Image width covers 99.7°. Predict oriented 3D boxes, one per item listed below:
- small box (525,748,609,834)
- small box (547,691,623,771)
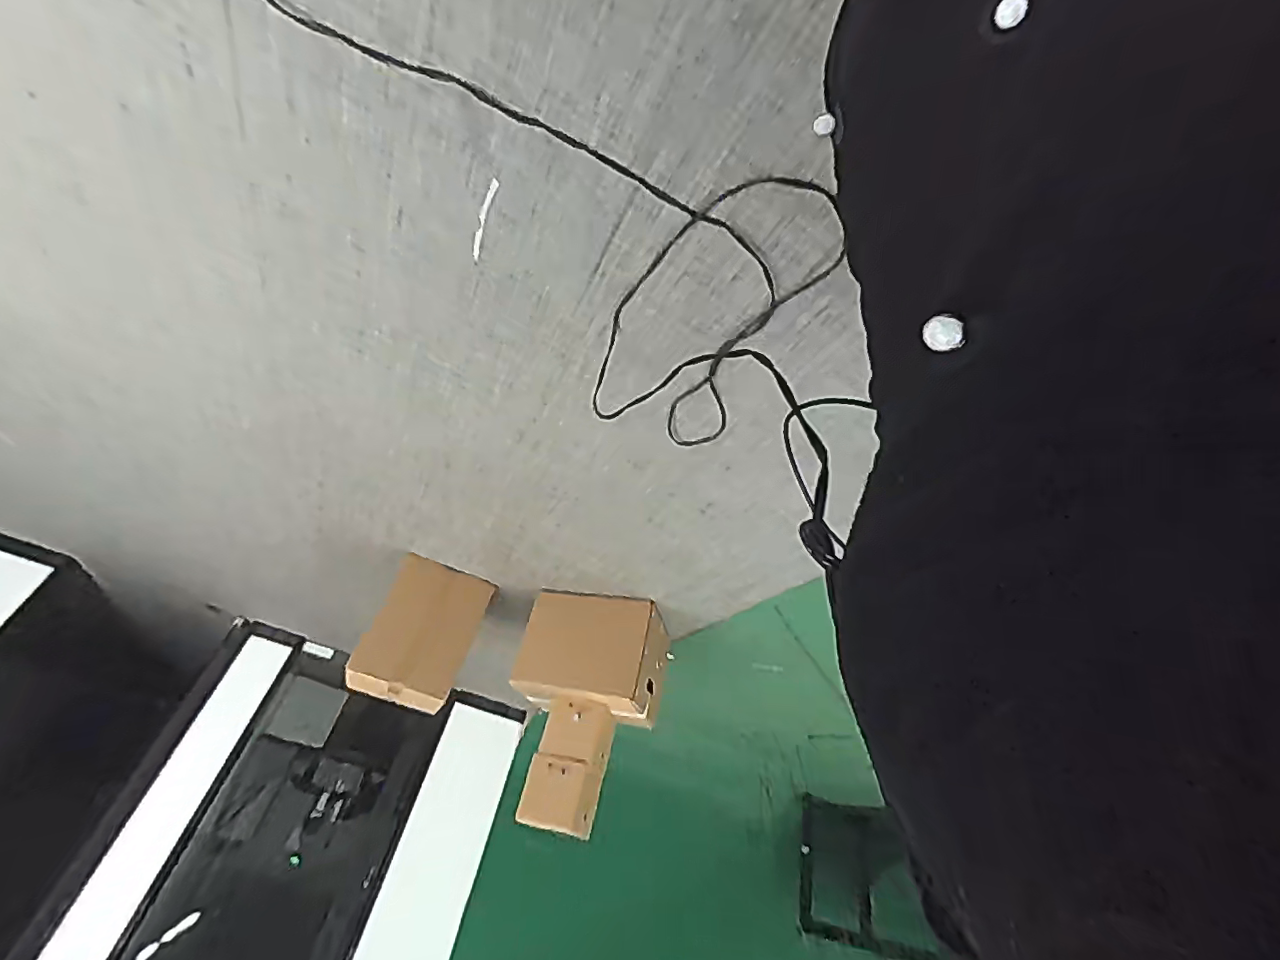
[{"bbox_3d":[-0.198,0.882,1.536,0.168,0.176,0.179,1,142,17],"label":"small box"},{"bbox_3d":[-0.159,0.757,1.633,0.168,0.176,0.179,3,143,15],"label":"small box"}]
